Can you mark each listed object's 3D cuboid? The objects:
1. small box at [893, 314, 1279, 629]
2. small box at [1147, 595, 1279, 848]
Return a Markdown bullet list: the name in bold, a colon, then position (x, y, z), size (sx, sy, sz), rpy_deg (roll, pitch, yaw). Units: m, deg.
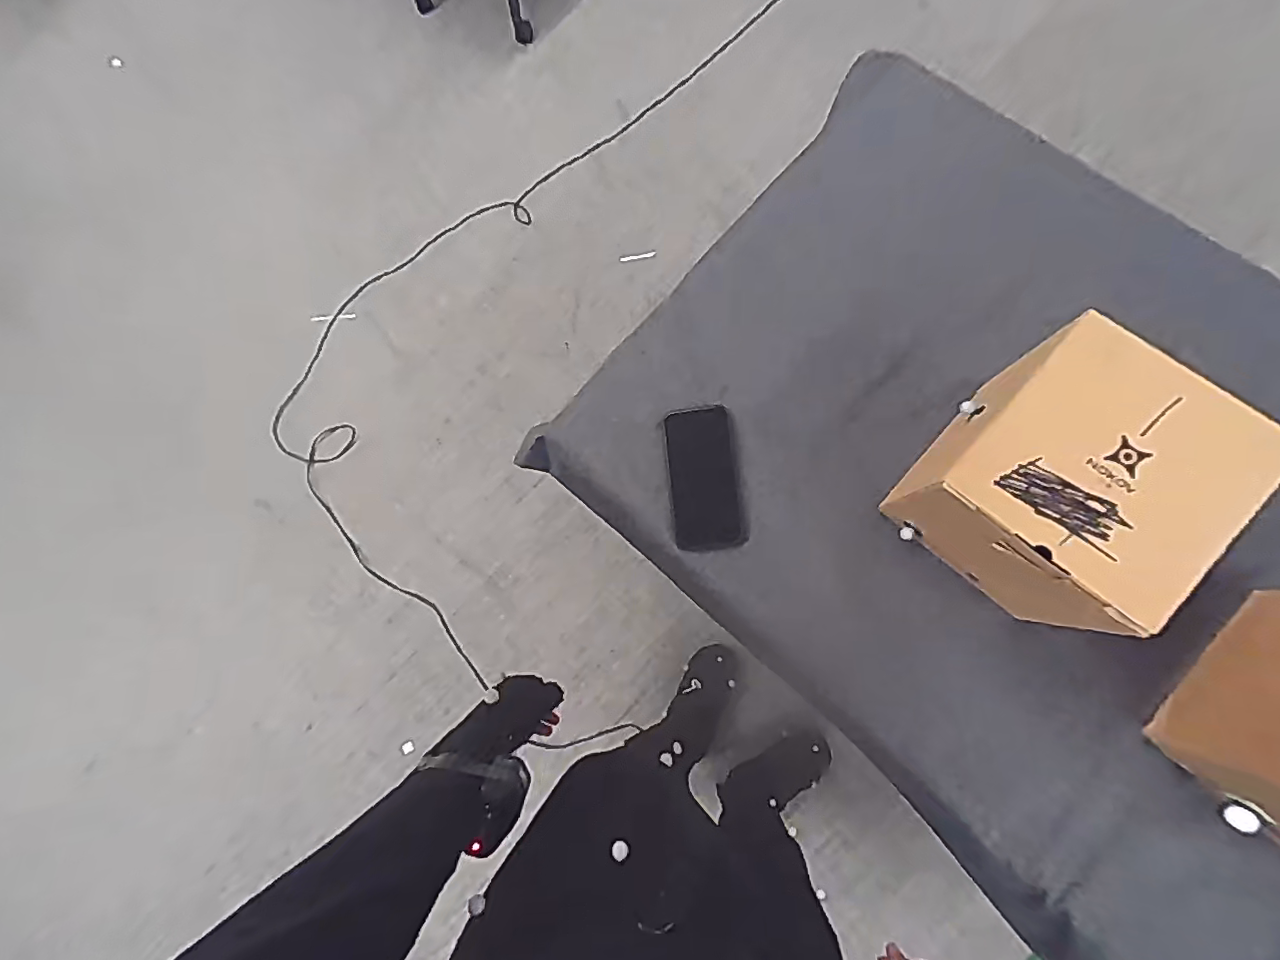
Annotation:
- **small box**: position (0.349, 0.003, 0.467), size (0.168, 0.176, 0.179), rpy_deg (41, 87, 12)
- **small box**: position (0.557, 0.202, 0.406), size (0.168, 0.176, 0.179), rpy_deg (40, 89, 14)
